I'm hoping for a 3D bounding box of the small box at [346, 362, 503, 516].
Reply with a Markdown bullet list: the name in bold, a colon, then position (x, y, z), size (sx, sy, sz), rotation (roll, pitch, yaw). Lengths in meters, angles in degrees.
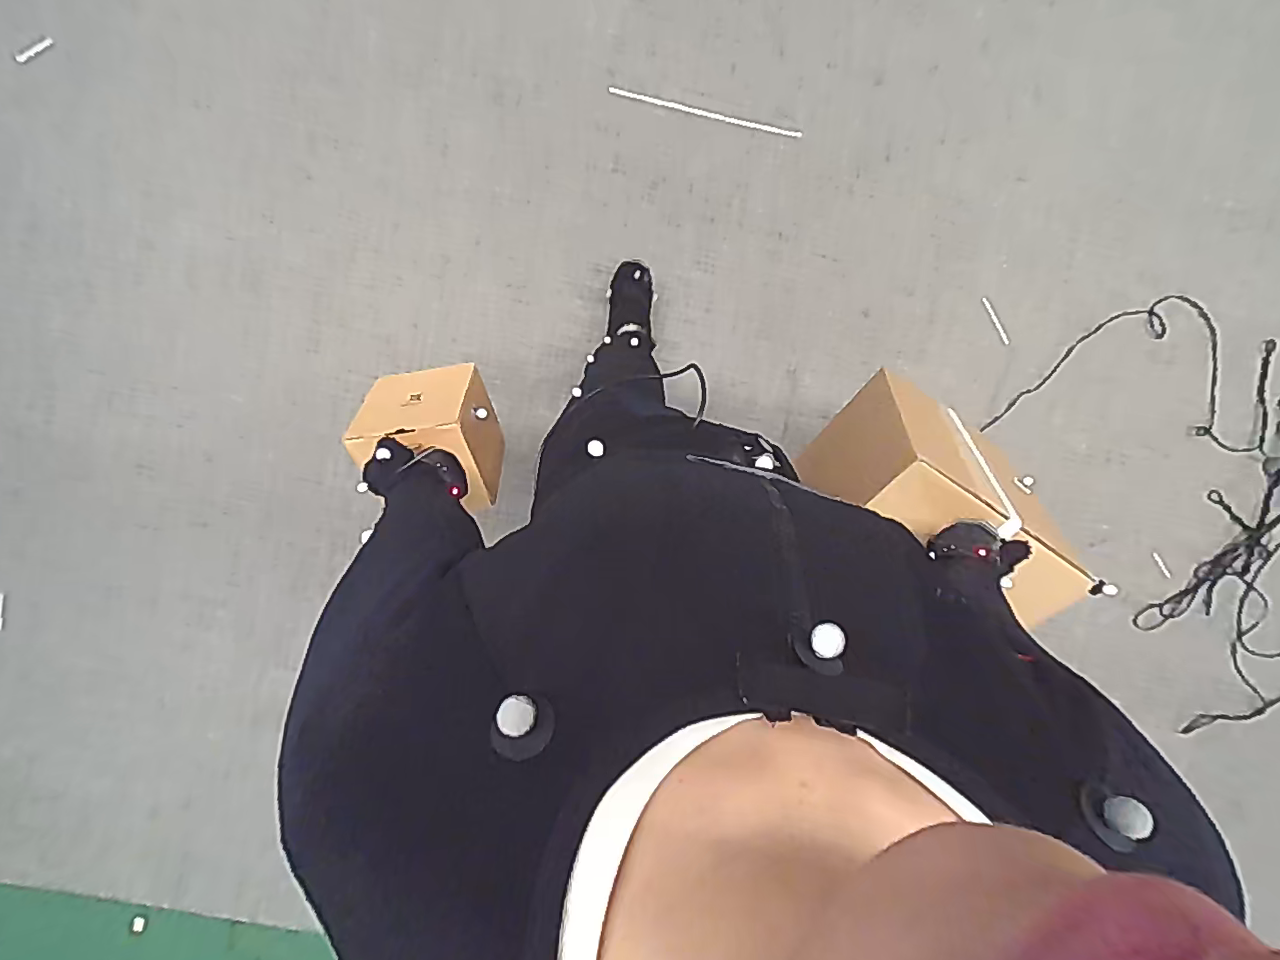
- **small box**: position (-0.330, -0.066, 0.872), size (0.168, 0.179, 0.176), rotation (-9, 131, 2)
